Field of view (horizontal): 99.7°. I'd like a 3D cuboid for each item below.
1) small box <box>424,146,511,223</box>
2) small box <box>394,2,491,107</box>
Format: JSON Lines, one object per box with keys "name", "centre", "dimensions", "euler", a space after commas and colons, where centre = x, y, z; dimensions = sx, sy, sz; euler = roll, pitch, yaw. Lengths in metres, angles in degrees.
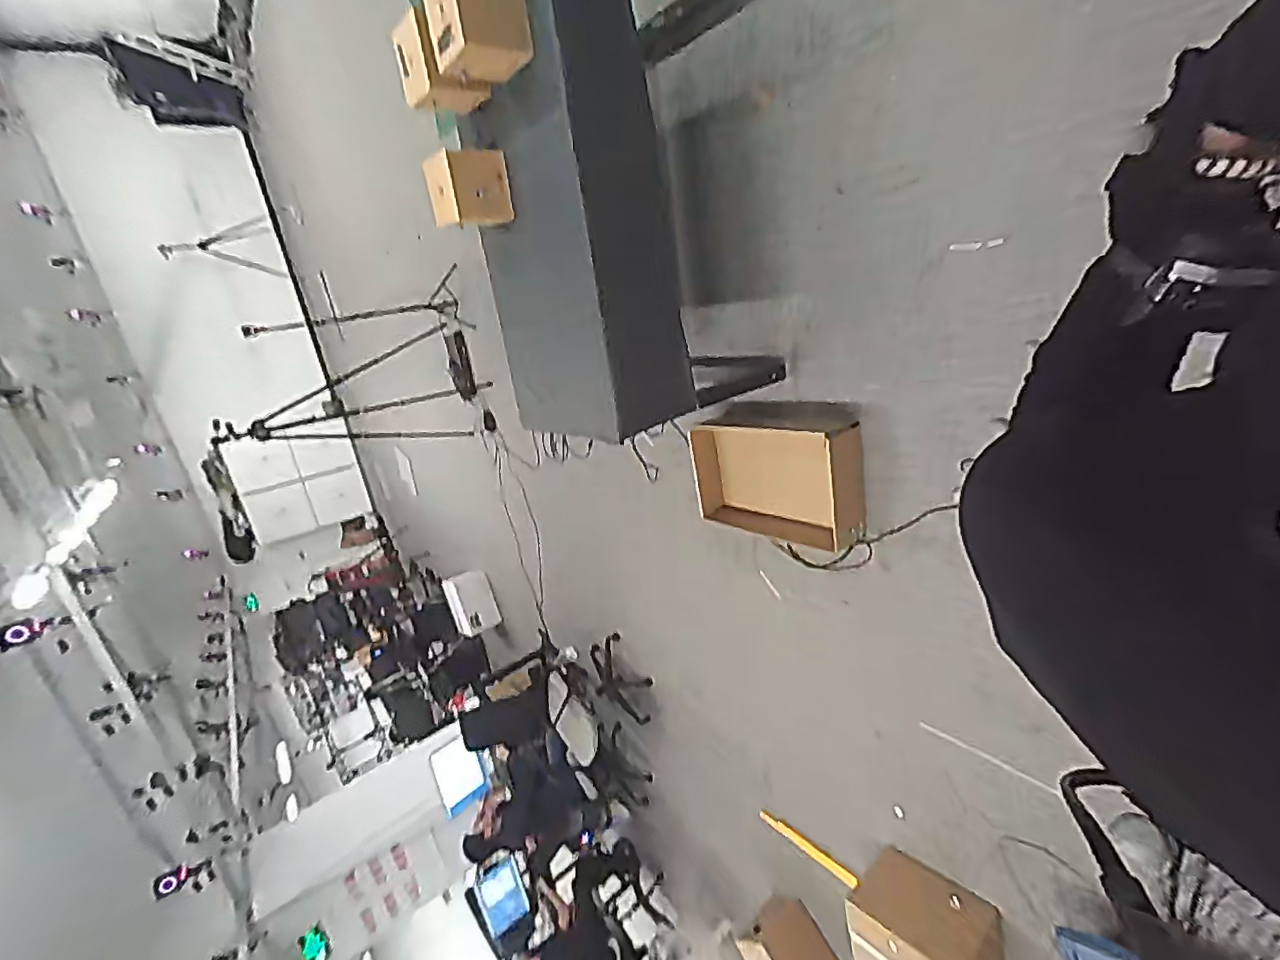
{"name": "small box", "centre": [-0.470, -0.817, 1.500], "dimensions": [0.179, 0.176, 0.168], "euler": [21, 124, 48]}
{"name": "small box", "centre": [-0.507, -1.084, 1.395], "dimensions": [0.179, 0.176, 0.168], "euler": [20, 124, 48]}
